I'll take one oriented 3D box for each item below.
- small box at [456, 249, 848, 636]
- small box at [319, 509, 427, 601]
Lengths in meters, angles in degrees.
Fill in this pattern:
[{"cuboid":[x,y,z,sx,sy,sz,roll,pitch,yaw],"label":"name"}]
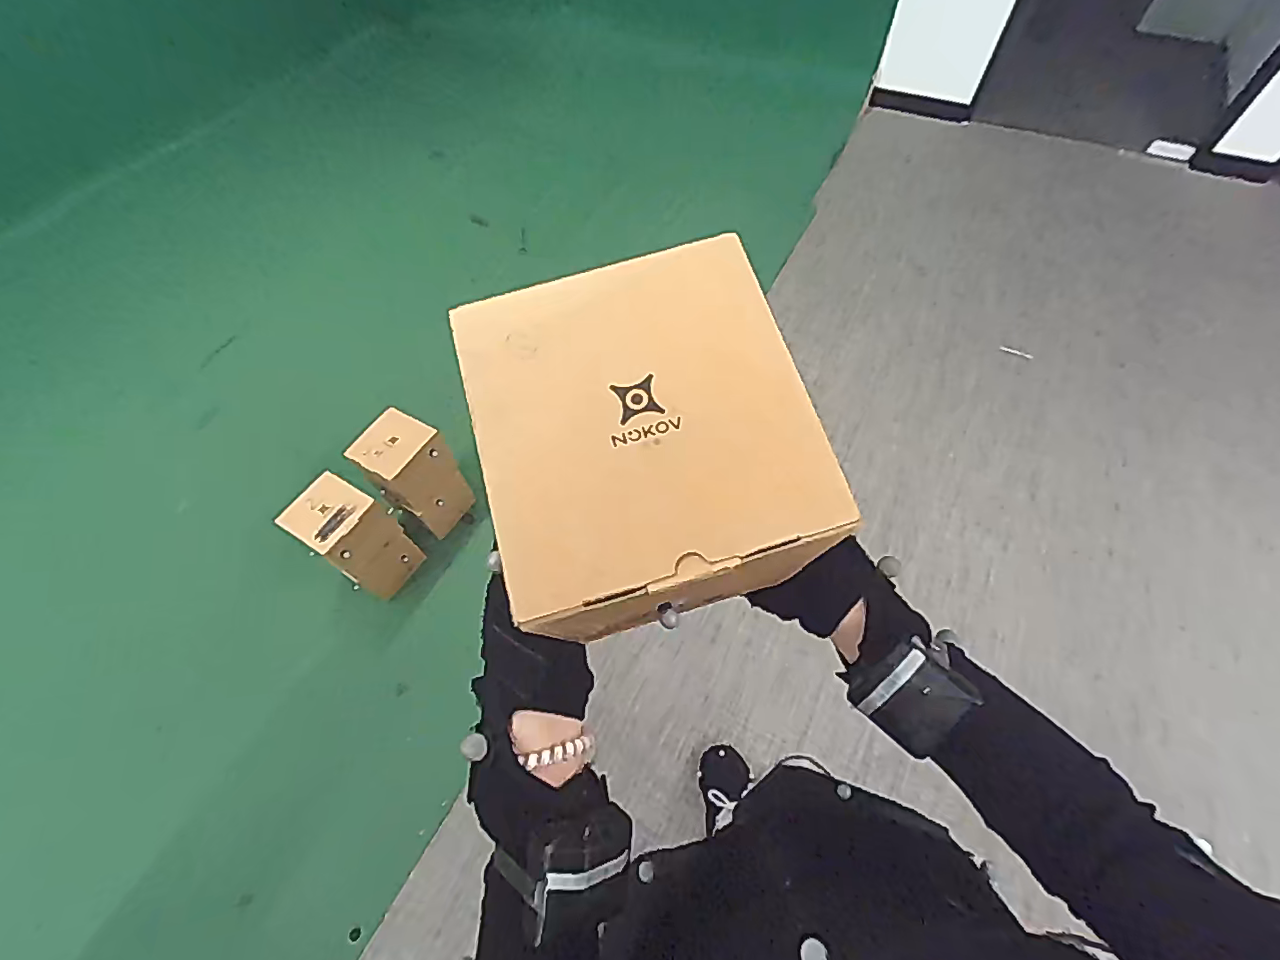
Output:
[{"cuboid":[0.001,-0.008,0.355,0.168,0.176,0.179,-17,72,-3],"label":"small box"},{"cuboid":[-0.726,0.214,1.495,0.179,0.176,0.168,28,65,18],"label":"small box"}]
